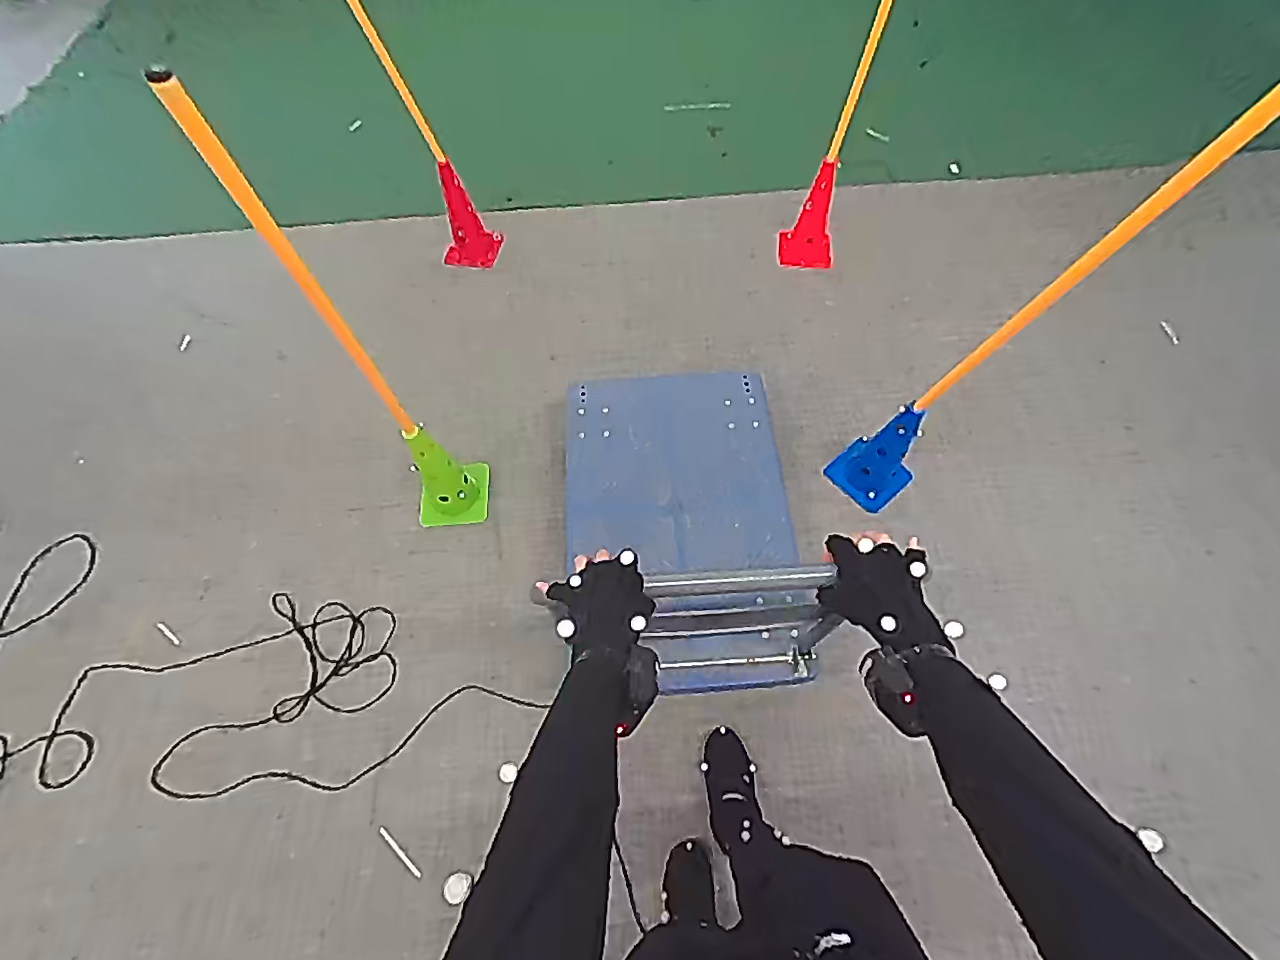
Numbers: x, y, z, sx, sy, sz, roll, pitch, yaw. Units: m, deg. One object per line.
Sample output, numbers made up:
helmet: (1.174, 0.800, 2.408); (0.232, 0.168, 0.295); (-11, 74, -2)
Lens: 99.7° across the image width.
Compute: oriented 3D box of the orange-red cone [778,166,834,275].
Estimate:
orange-red cone: (0.632, -0.945, 1.944); (0.198, 0.360, 0.199); (6, 63, 5)
